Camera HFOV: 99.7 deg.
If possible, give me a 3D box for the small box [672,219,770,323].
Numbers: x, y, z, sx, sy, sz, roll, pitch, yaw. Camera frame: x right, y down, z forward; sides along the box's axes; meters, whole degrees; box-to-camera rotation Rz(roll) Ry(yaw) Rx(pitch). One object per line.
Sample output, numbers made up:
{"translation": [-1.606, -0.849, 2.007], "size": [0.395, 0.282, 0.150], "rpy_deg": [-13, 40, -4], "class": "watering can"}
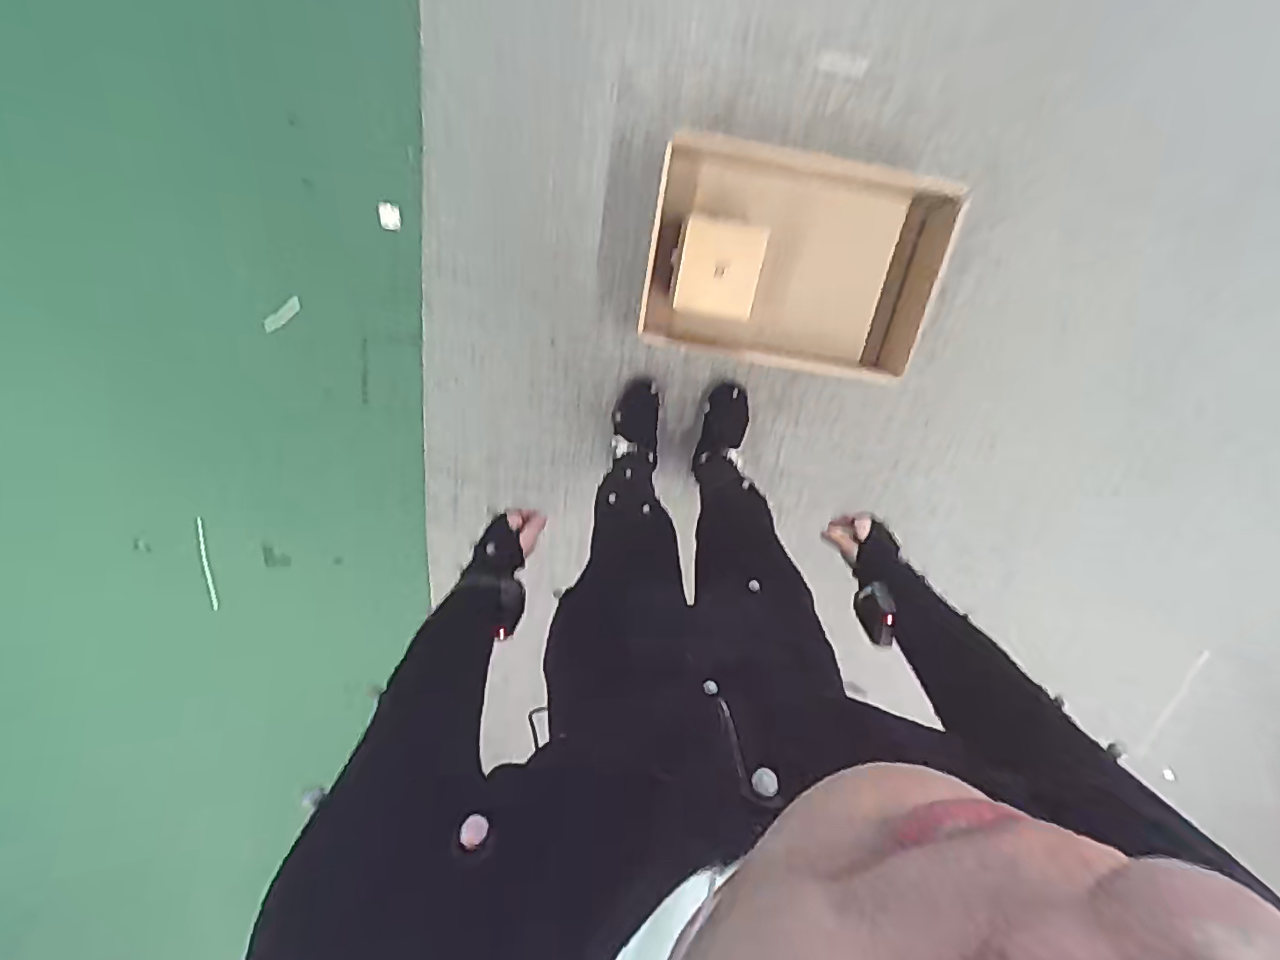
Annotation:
{"translation": [0.165, -0.451, 1.170], "size": [0.168, 0.176, 0.179], "rpy_deg": [9, 111, -4], "class": "small box"}
